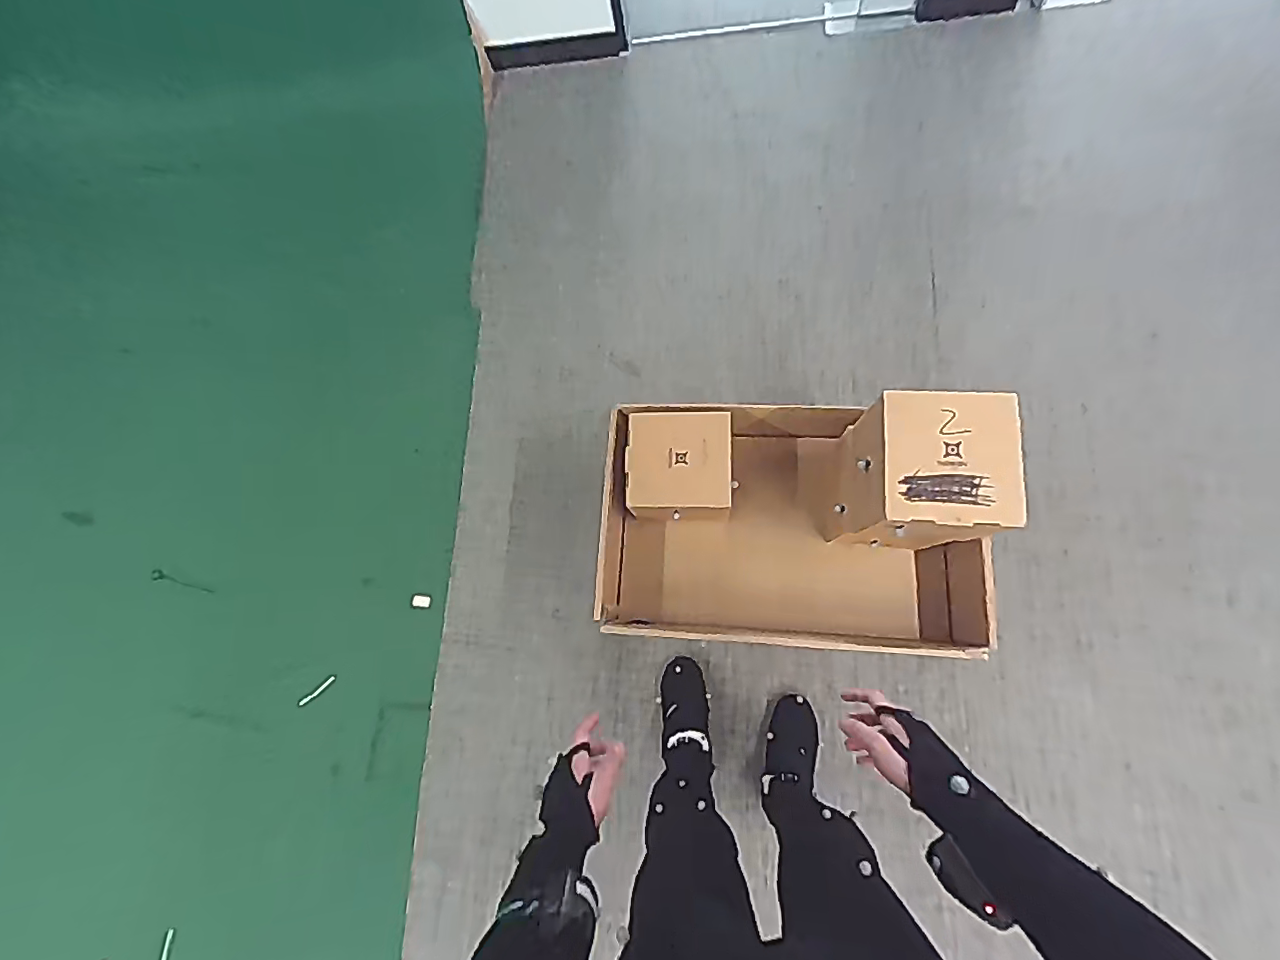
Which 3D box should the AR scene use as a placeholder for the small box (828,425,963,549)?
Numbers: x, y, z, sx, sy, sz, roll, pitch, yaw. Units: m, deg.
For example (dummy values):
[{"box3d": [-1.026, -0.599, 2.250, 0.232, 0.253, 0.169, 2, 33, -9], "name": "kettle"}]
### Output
[{"box3d": [0.423, 0.018, 0.920, 0.168, 0.176, 0.179, 3, 79, 8], "name": "small box"}]
